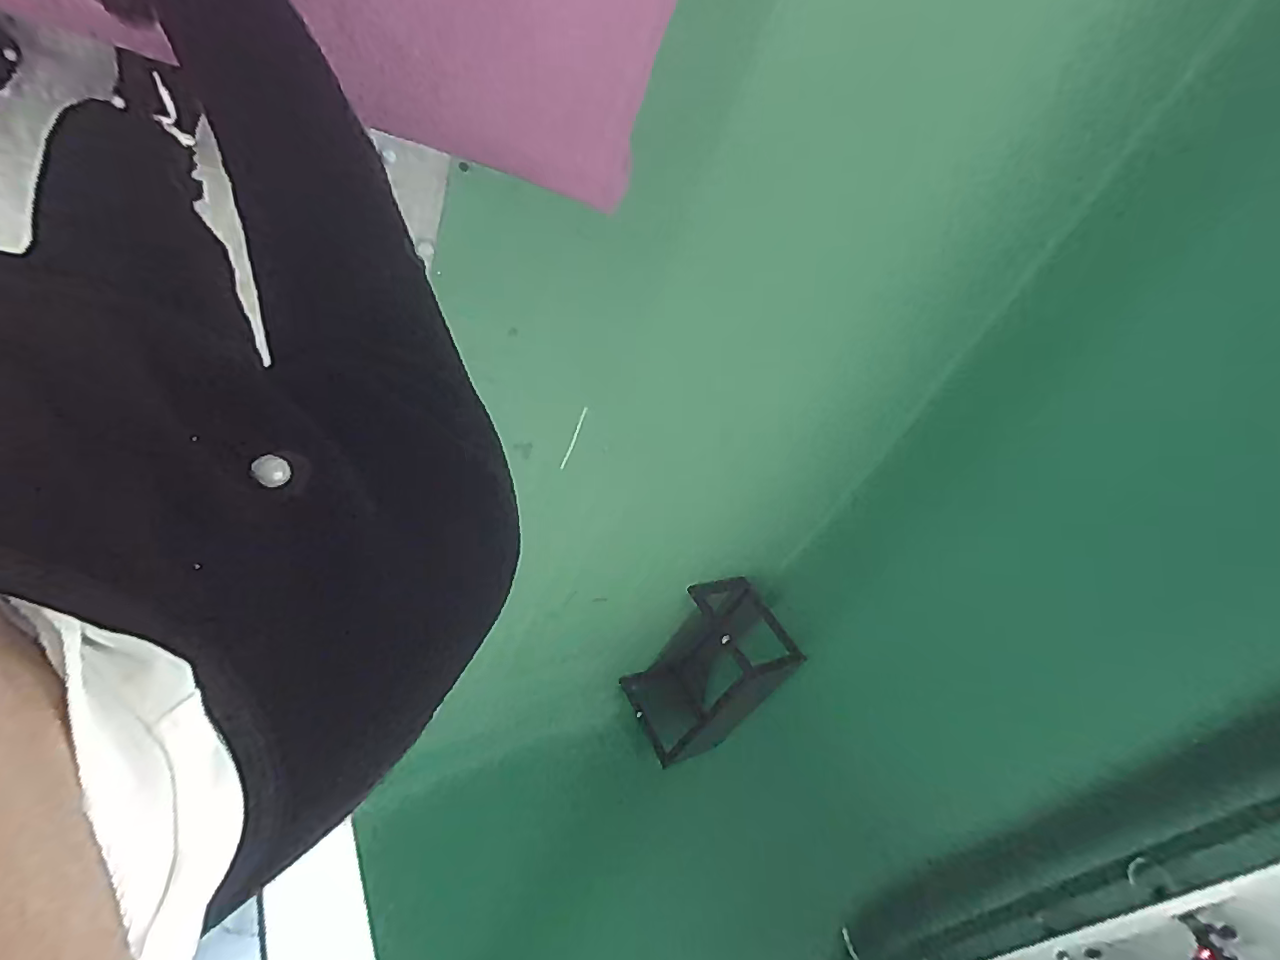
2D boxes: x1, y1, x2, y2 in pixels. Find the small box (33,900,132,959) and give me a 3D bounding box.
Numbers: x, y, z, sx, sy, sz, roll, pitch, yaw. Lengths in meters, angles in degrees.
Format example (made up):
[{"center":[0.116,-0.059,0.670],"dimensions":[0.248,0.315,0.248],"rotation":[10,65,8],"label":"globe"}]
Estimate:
[{"center":[-1.457,1.247,1.414],"dimensions":[0.168,0.176,0.179],"rotation":[-3,132,-37],"label":"small box"}]
